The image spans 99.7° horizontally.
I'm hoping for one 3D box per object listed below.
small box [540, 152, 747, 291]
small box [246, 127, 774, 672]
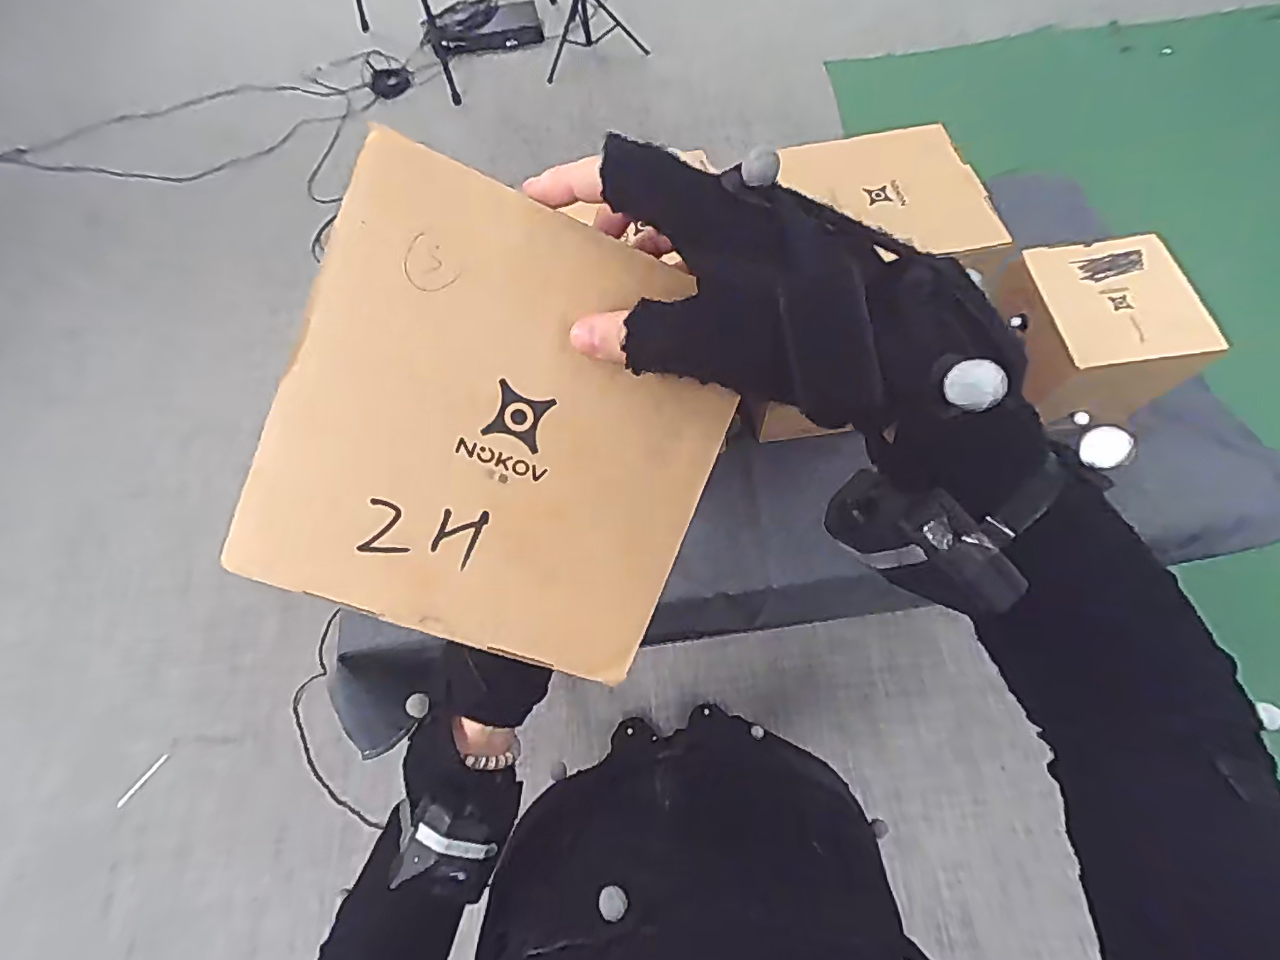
[{"bbox_3d":[0.003,-0.203,0.578,0.179,0.176,0.168,-12,67,0],"label":"small box"},{"bbox_3d":[-0.061,-0.033,0.297,0.168,0.176,0.179,22,94,-12],"label":"small box"}]
